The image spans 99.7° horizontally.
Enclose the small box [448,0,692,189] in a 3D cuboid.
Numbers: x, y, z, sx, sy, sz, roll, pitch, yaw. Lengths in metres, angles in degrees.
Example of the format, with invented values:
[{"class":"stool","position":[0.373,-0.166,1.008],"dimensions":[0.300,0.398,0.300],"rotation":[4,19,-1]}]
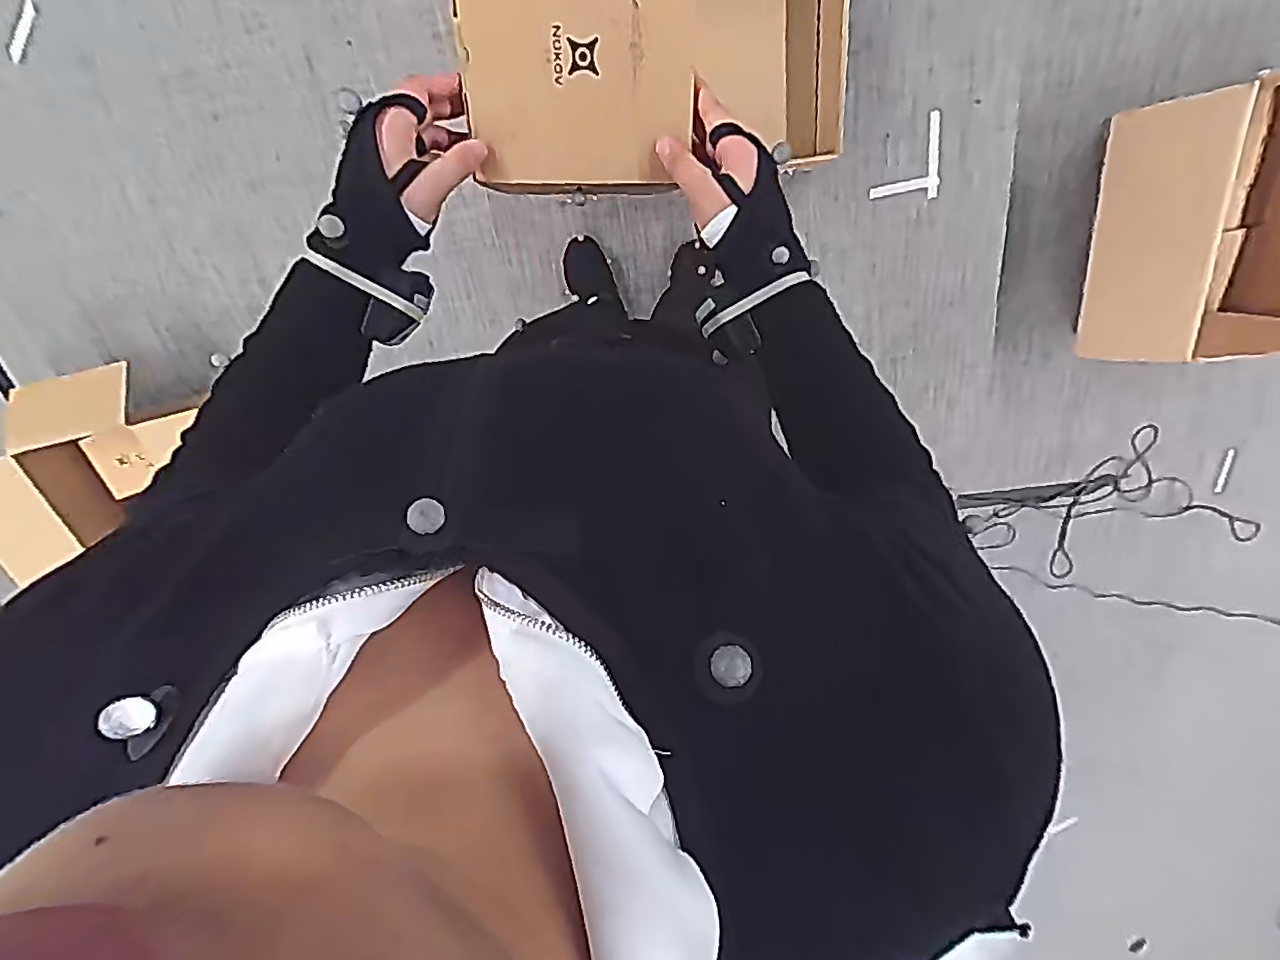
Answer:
[{"class":"small box","position":[-0.054,-0.351,0.469],"dimensions":[0.179,0.176,0.168],"rotation":[-3,116,-4]}]
